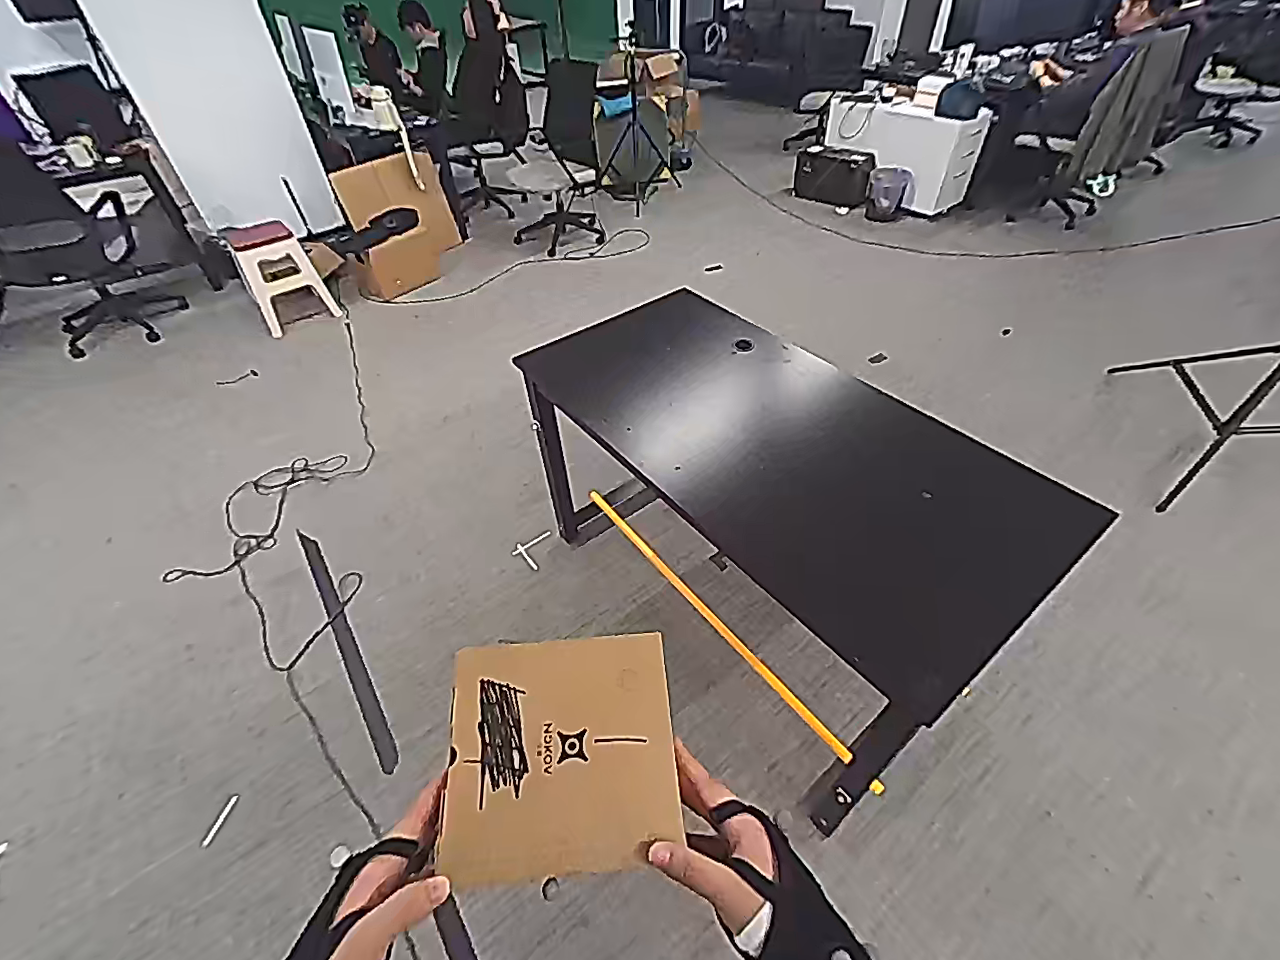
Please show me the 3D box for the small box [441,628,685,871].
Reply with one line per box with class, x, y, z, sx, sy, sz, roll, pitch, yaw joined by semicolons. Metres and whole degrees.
small box;-0.062;0.247;0.490;0.179;0.176;0.168;-3;56;-5
